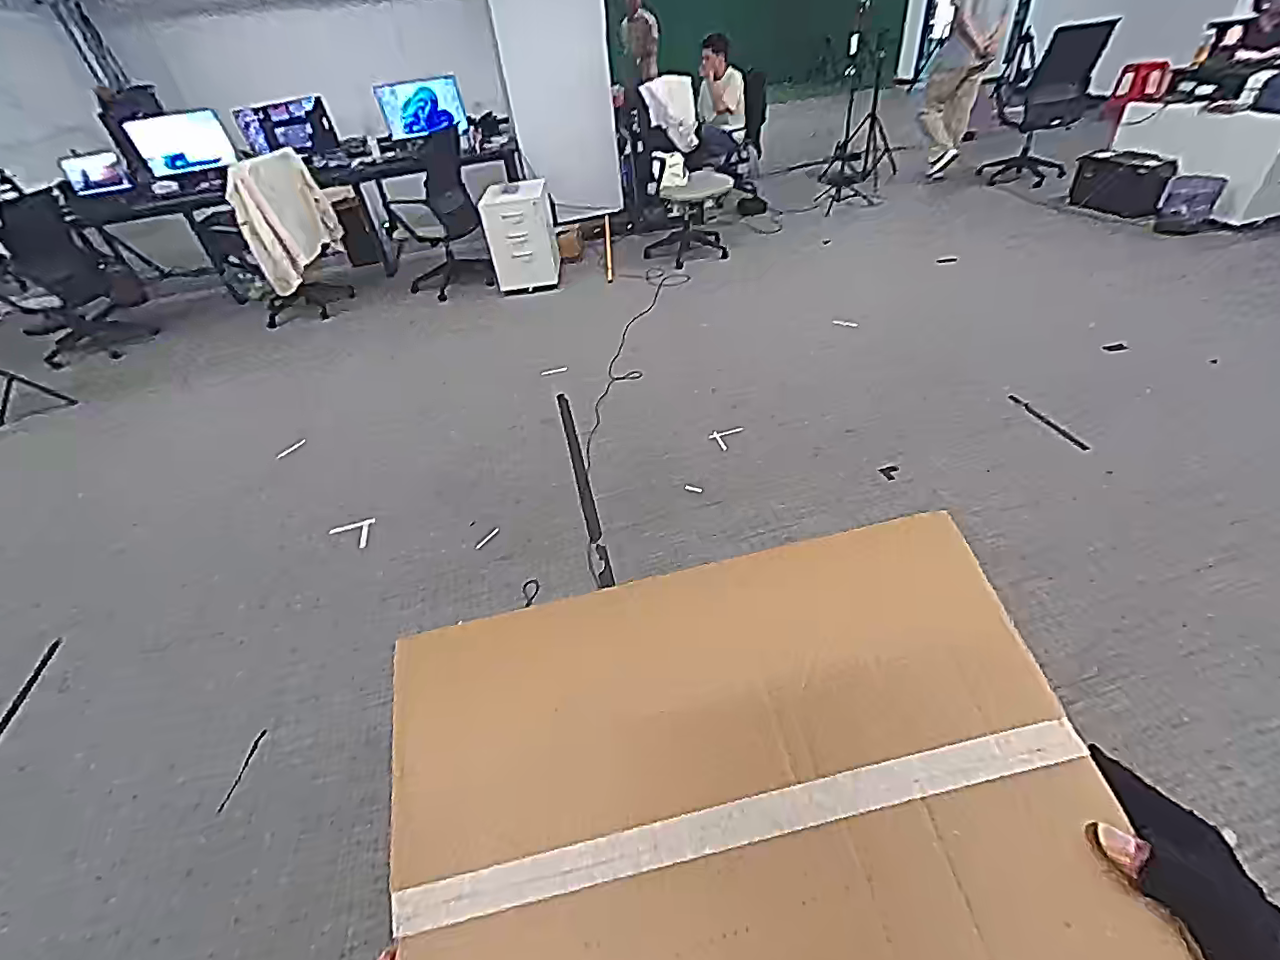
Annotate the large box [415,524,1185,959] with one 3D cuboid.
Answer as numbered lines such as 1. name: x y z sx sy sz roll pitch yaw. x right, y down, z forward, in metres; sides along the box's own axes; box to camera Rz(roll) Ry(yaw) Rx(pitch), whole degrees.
1. large box: 0.076 0.282 0.448 0.408 0.320 0.320 -14 60 -2
